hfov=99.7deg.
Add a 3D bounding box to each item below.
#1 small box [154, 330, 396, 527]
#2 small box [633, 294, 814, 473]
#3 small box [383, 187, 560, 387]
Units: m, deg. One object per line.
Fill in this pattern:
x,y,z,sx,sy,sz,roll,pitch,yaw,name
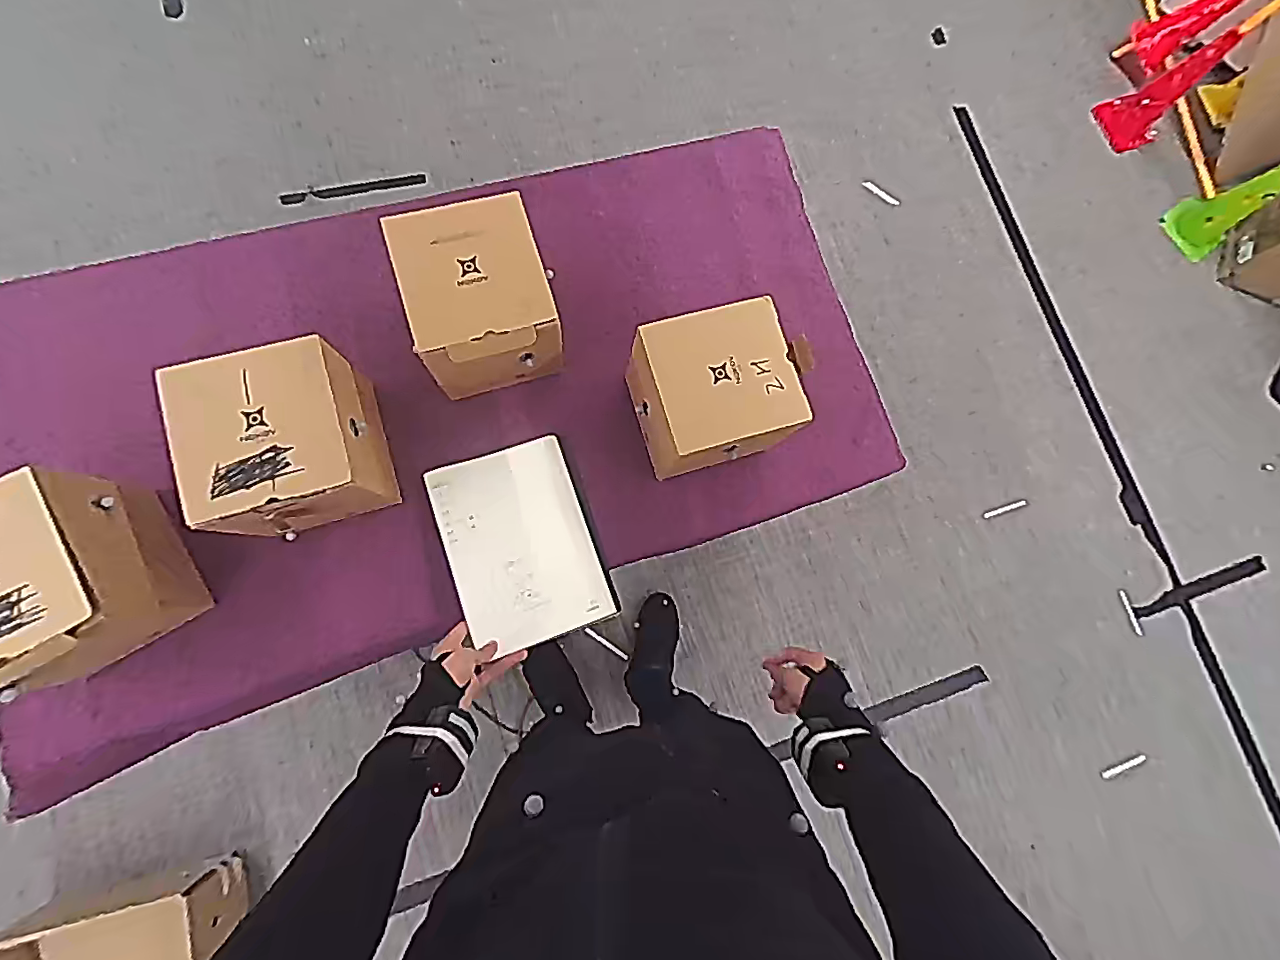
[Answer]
-0.410,-0.047,0.639,0.168,0.176,0.179,-16,82,-10,small box
0.094,-0.115,0.712,0.179,0.176,0.168,-15,83,-9,small box
-0.203,-0.232,0.697,0.168,0.176,0.179,-16,83,-10,small box
